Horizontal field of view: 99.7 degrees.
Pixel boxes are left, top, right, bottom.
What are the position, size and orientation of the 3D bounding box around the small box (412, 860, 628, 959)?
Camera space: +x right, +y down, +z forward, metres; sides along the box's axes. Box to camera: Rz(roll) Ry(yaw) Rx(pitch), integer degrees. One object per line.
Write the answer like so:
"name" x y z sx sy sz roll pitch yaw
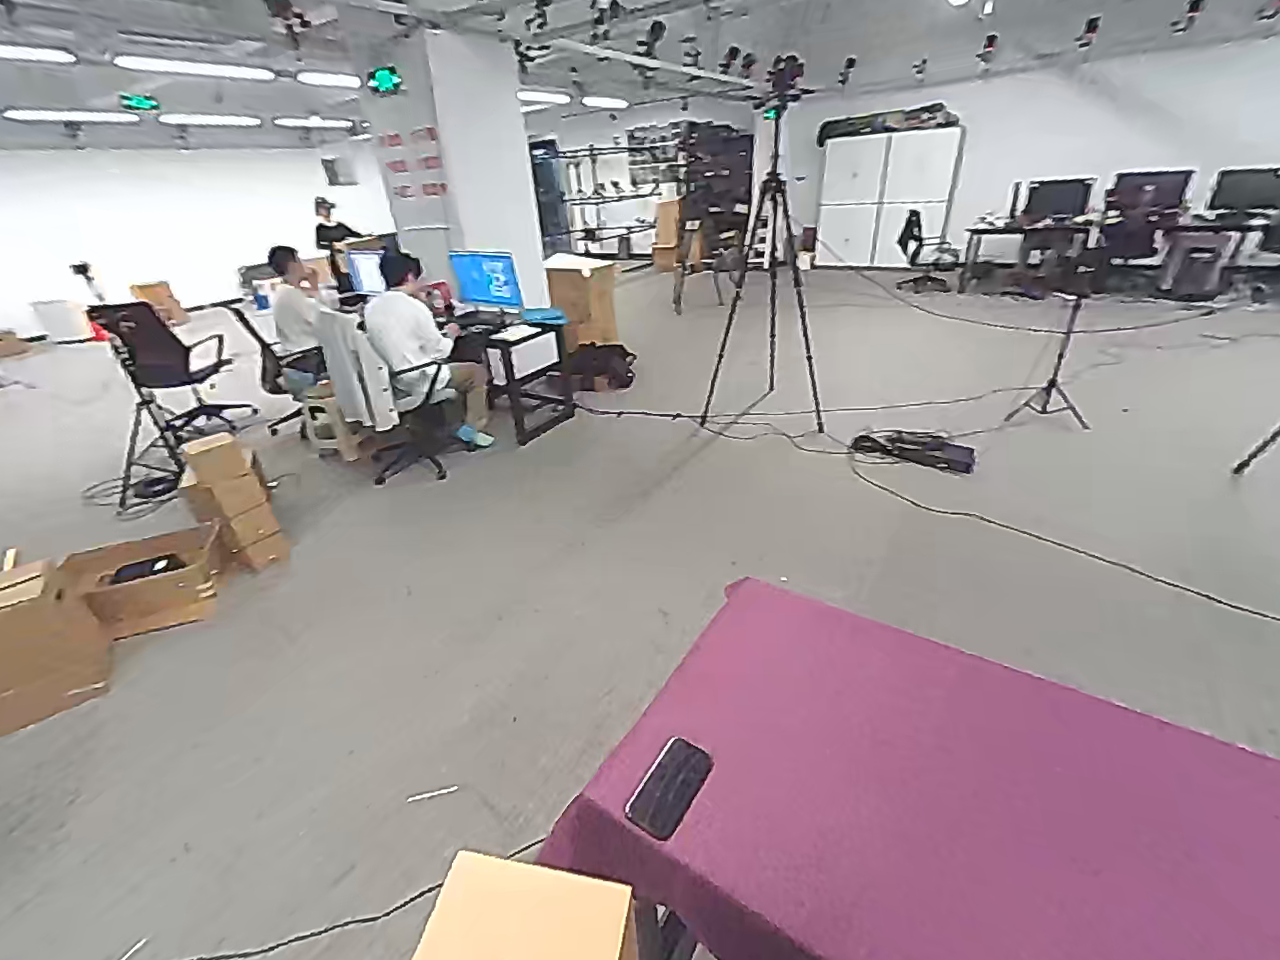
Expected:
"small box" -0.106 0.471 0.458 0.168 0.176 0.179 4 34 10
